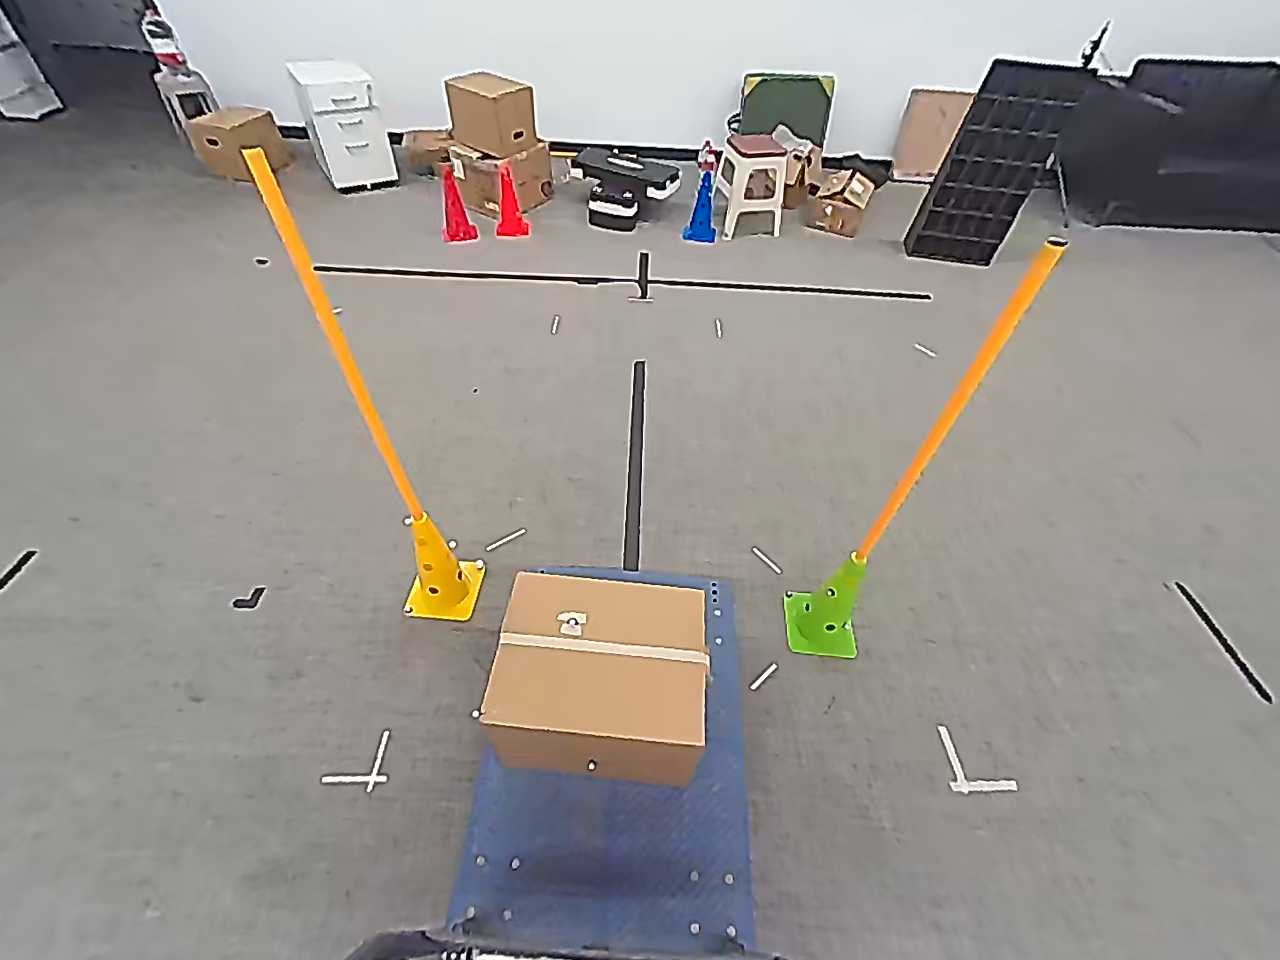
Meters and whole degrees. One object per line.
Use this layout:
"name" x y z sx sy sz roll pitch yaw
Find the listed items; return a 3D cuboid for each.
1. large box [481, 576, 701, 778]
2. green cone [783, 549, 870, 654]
"large box" -0.081 0.433 1.176 0.408 0.320 0.320 5 49 2
"green cone" 0.552 0.313 1.514 0.202 0.368 0.200 6 48 0
